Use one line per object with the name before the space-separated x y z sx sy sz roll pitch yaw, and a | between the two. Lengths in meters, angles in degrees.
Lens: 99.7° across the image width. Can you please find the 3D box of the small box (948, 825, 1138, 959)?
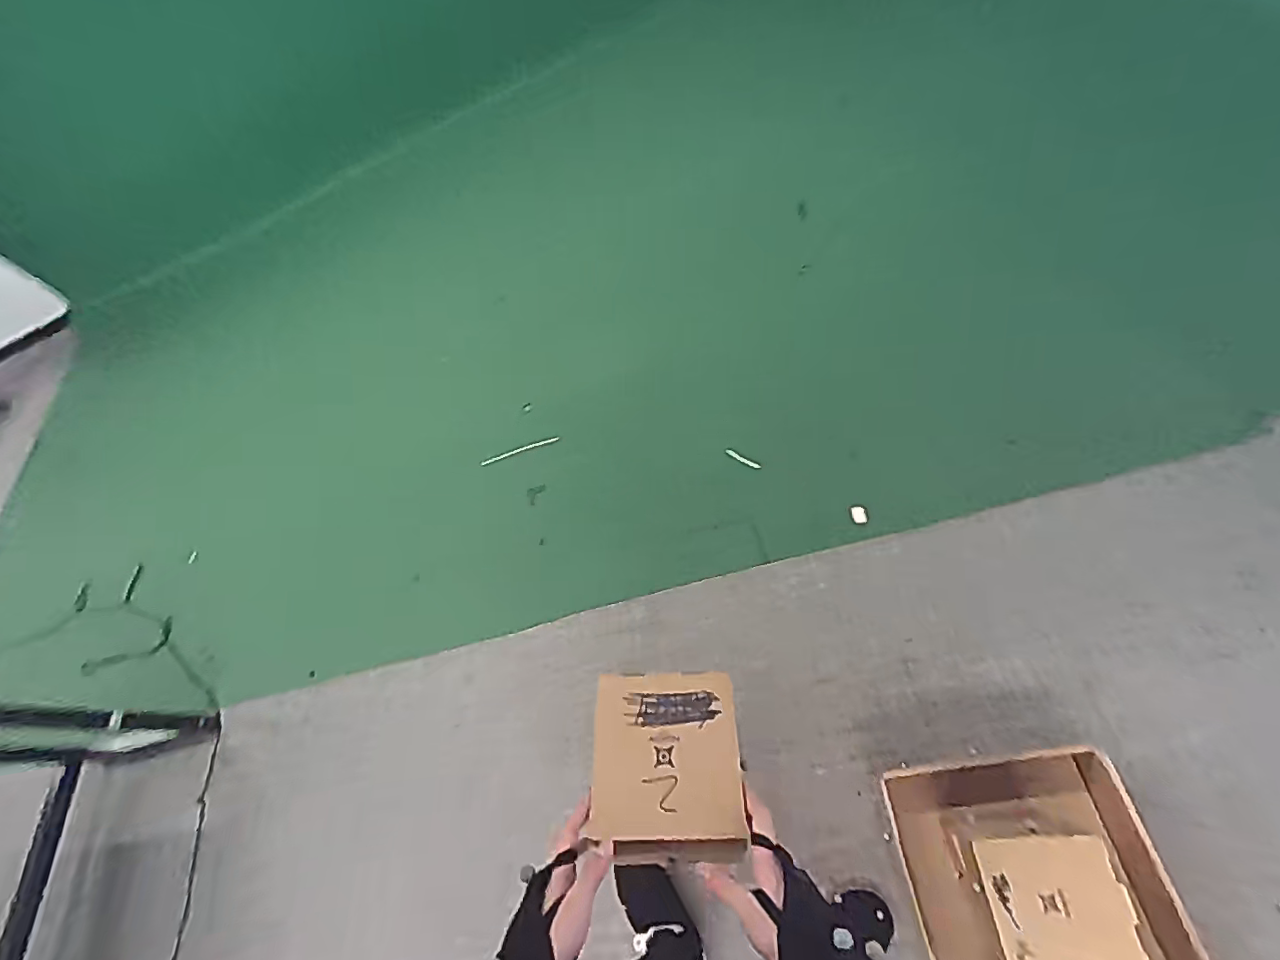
small box | 0.619 0.653 0.855 0.179 0.176 0.168 -12 61 14

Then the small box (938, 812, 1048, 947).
small box | 0.670 0.726 0.994 0.179 0.176 0.168 -17 62 12
